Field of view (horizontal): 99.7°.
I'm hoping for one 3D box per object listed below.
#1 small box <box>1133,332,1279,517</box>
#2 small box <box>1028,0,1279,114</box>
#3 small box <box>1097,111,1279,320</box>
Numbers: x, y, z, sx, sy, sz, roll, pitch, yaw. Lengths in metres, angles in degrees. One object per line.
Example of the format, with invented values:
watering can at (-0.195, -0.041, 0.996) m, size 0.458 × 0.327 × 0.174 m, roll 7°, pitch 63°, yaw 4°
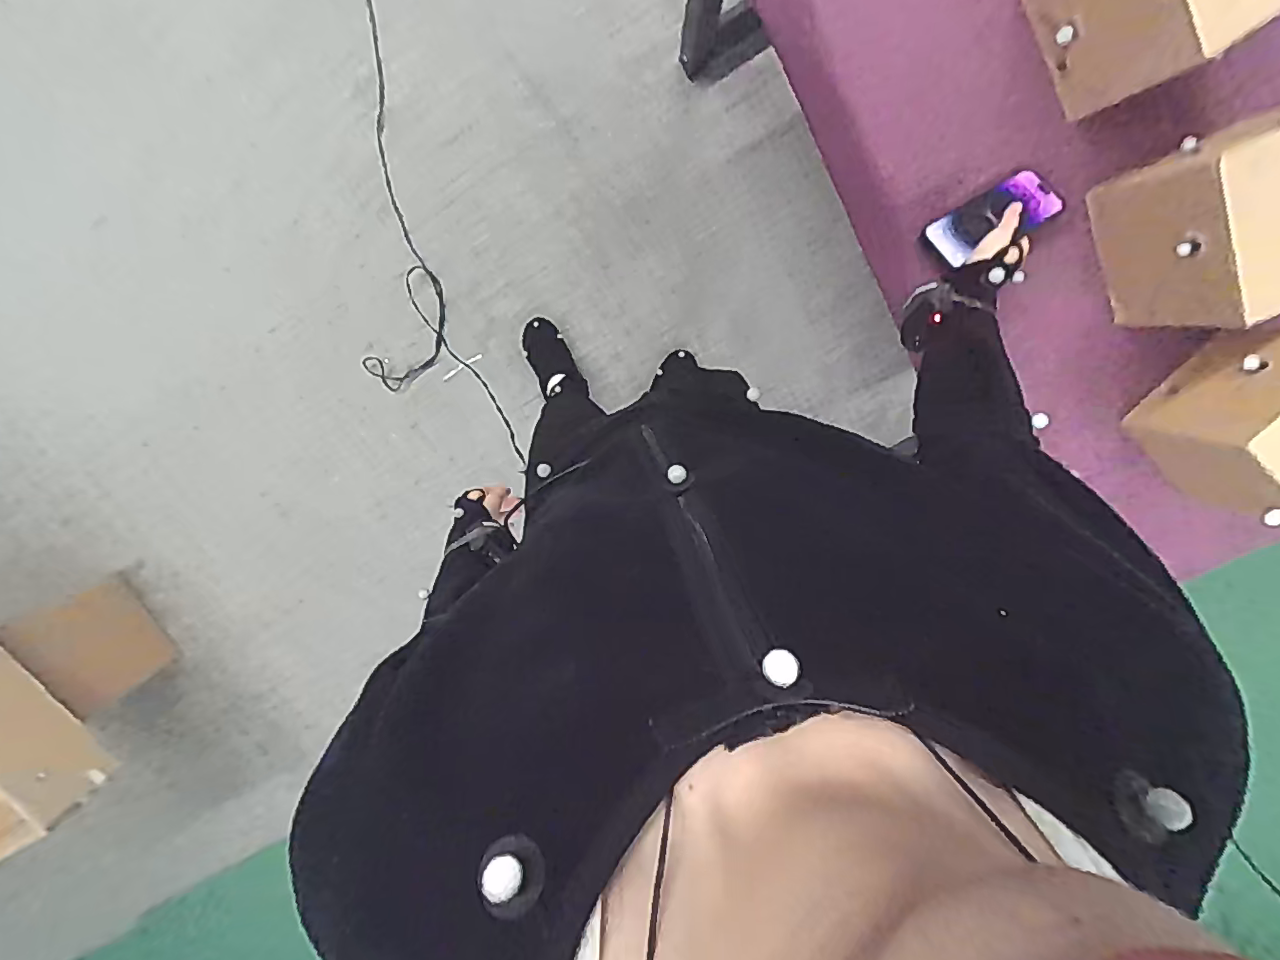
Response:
small box at (0.770, -0.064, 0.650) m, size 0.179 × 0.176 × 0.168 m, roll 39°, pitch 102°, yaw -10°
small box at (0.537, -0.511, 0.528) m, size 0.179 × 0.176 × 0.168 m, roll -32°, pitch 103°, yaw 10°
small box at (0.654, -0.287, 0.590) m, size 0.168 × 0.176 × 0.179 m, roll -24°, pitch 104°, yaw 8°
